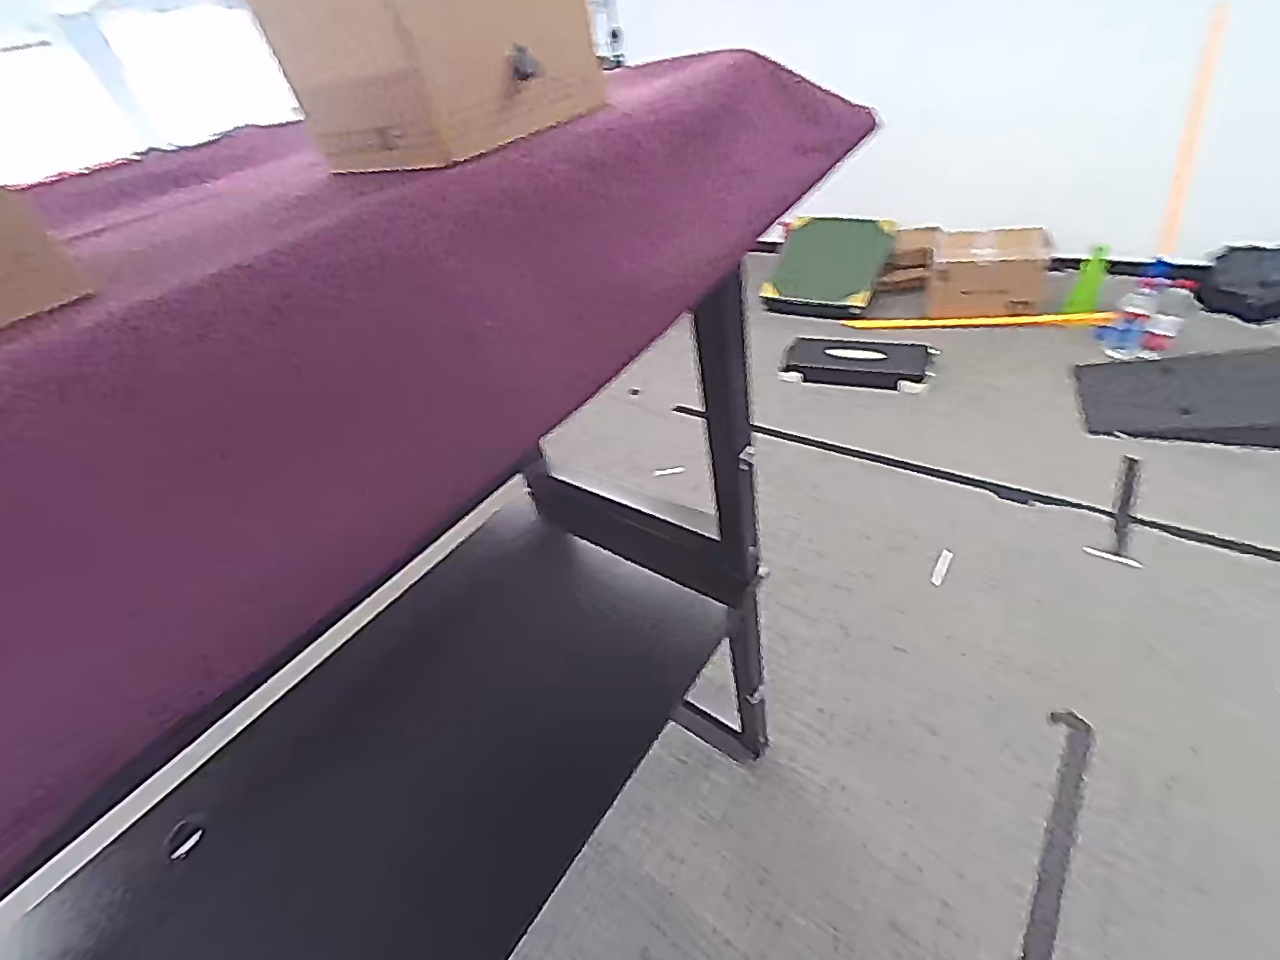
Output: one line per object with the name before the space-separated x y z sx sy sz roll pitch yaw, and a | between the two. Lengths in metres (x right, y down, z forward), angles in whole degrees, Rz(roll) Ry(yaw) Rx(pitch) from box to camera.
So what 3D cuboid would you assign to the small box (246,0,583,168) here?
small box | -0.159 -0.339 0.387 0.168 0.176 0.179 17 49 33
